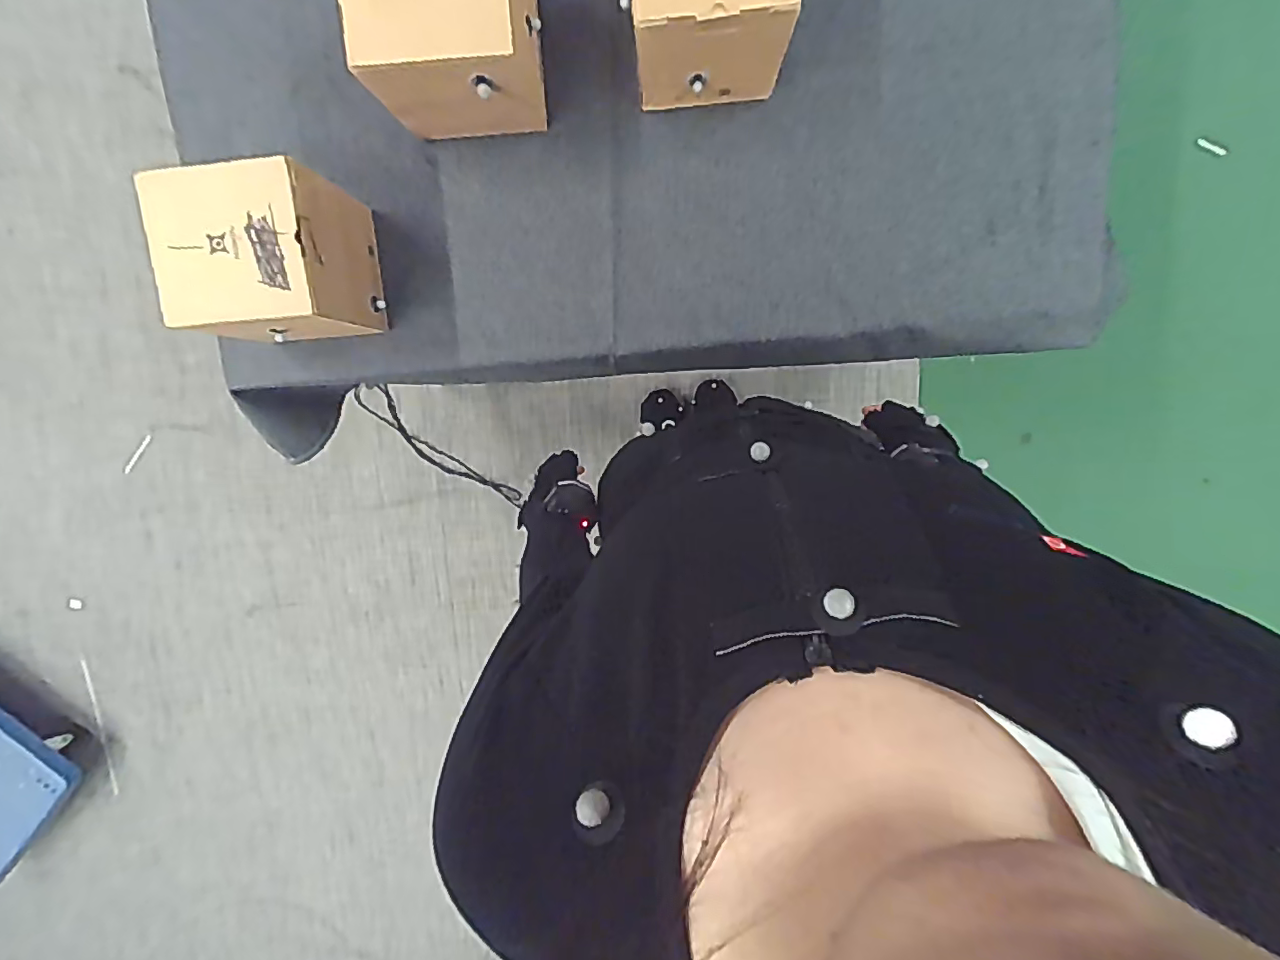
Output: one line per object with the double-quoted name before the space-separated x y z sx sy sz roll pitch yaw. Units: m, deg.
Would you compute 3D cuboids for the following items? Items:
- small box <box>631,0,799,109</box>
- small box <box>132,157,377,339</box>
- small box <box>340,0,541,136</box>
"small box" 0.073 -0.555 0.603 0.168 0.176 0.179 -4 100 3
"small box" -0.448 -0.269 0.664 0.179 0.176 0.168 -4 98 3
"small box" -0.214 -0.518 0.615 0.179 0.176 0.168 -2 100 2
